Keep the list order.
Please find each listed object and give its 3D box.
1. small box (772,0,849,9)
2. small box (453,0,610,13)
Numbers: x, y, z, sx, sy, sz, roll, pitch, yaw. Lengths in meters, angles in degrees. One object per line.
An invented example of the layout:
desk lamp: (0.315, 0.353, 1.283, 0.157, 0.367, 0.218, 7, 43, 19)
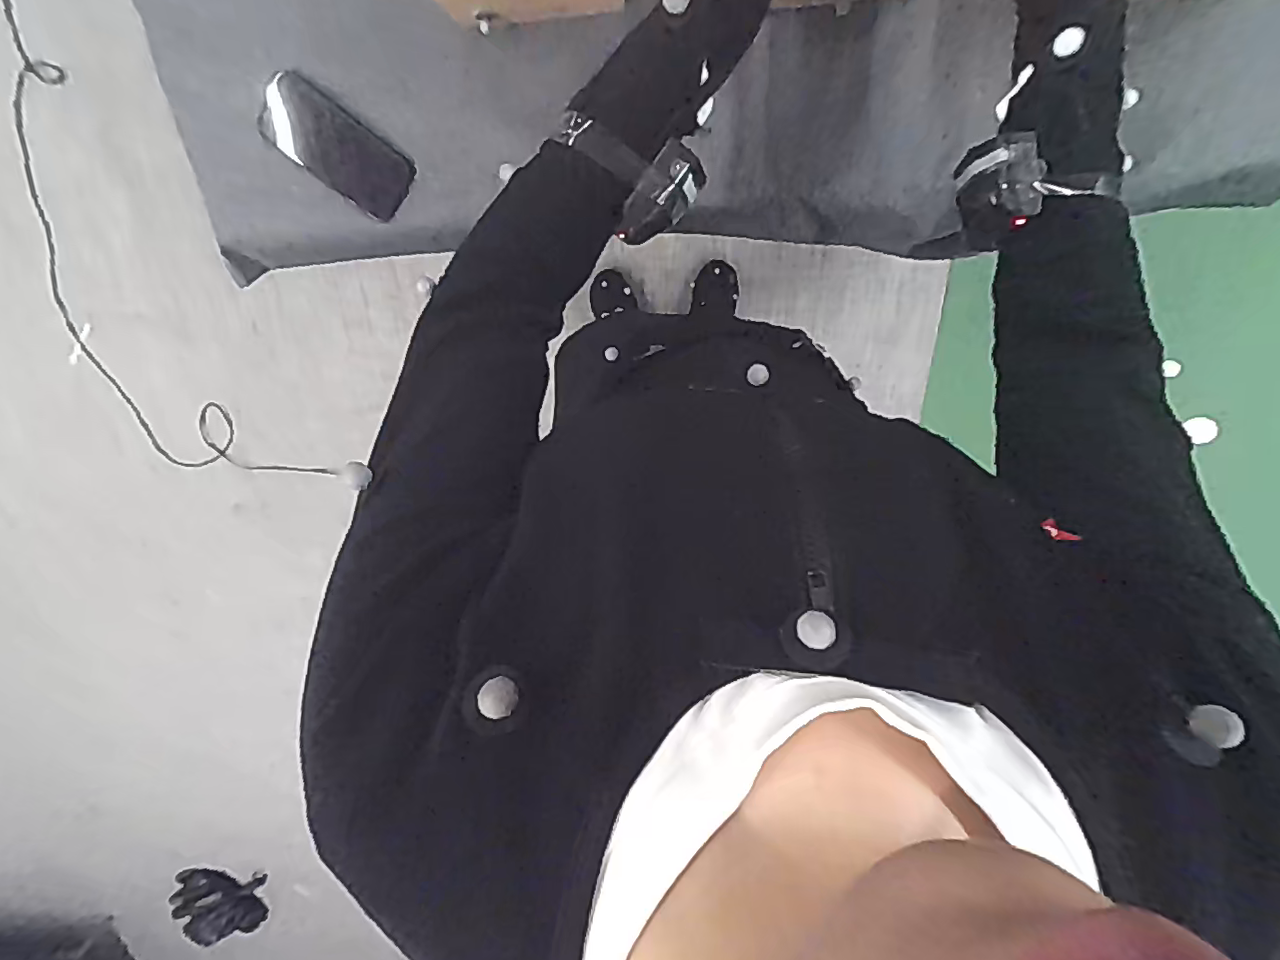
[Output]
small box: (0.188, -0.510, 0.416, 0.168, 0.176, 0.179, -4, 115, 5)
small box: (-0.107, -0.505, 0.426, 0.168, 0.176, 0.179, -4, 114, 3)
